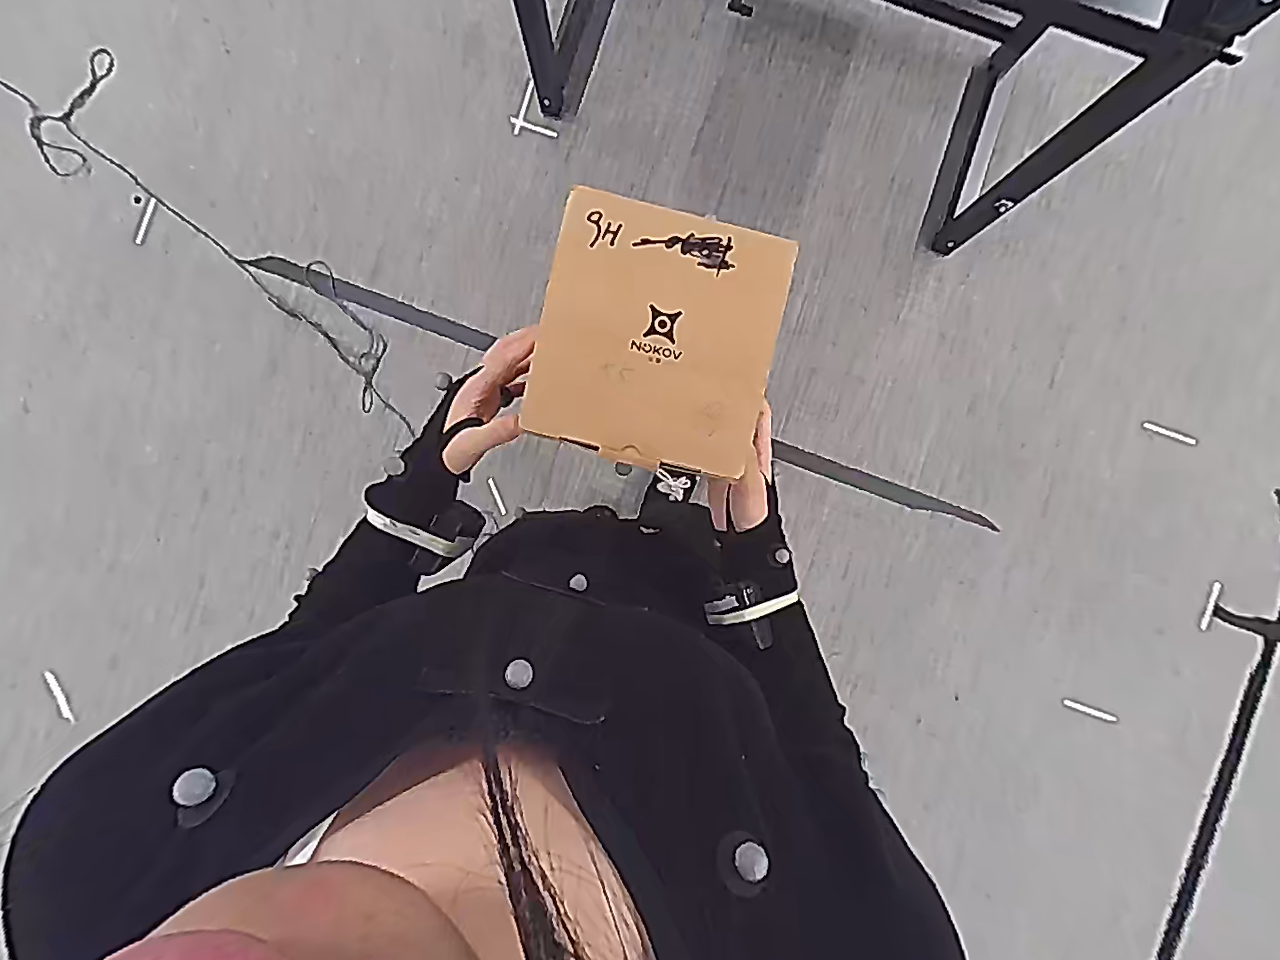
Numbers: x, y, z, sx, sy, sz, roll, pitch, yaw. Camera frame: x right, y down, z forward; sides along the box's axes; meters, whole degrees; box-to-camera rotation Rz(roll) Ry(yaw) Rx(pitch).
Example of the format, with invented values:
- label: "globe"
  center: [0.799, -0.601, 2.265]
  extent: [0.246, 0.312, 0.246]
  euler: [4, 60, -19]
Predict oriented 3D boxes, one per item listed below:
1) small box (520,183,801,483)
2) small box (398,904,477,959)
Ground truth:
- label: "small box"
  center: [0.011, -0.105, 0.456]
  extent: [0.168, 0.176, 0.179]
  euler: [13, 93, -3]
- label: "small box"
  center: [-0.544, 1.270, 1.403]
  extent: [0.168, 0.176, 0.179]
  euler: [22, 89, -1]
